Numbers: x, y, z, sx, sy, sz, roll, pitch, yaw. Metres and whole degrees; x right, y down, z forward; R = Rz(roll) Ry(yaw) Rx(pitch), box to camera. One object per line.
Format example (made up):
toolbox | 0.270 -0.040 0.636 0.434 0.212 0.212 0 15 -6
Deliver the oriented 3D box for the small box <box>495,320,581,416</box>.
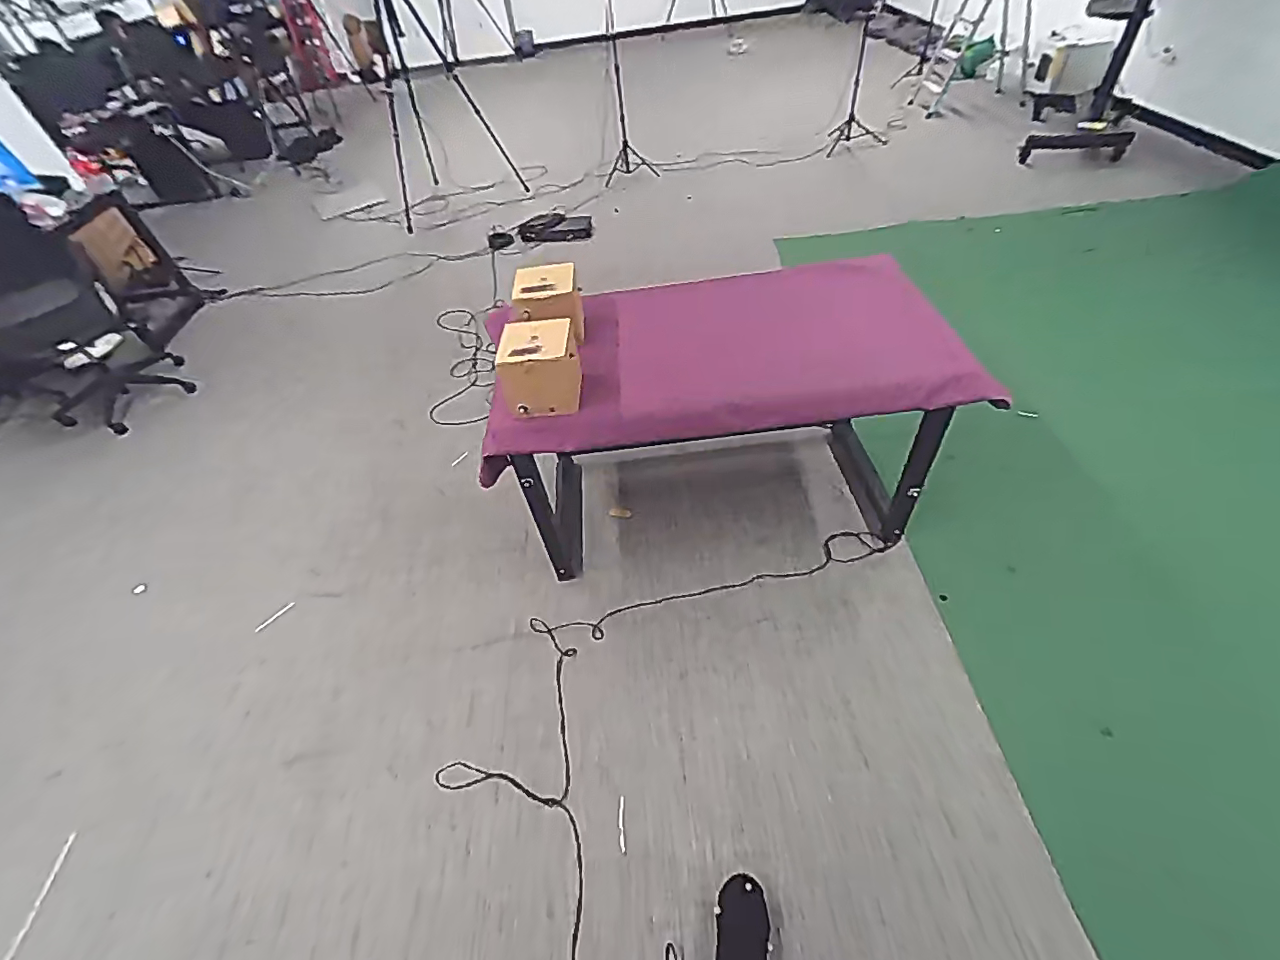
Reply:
small box | -0.244 -0.272 1.338 0.168 0.176 0.179 -4 46 3
